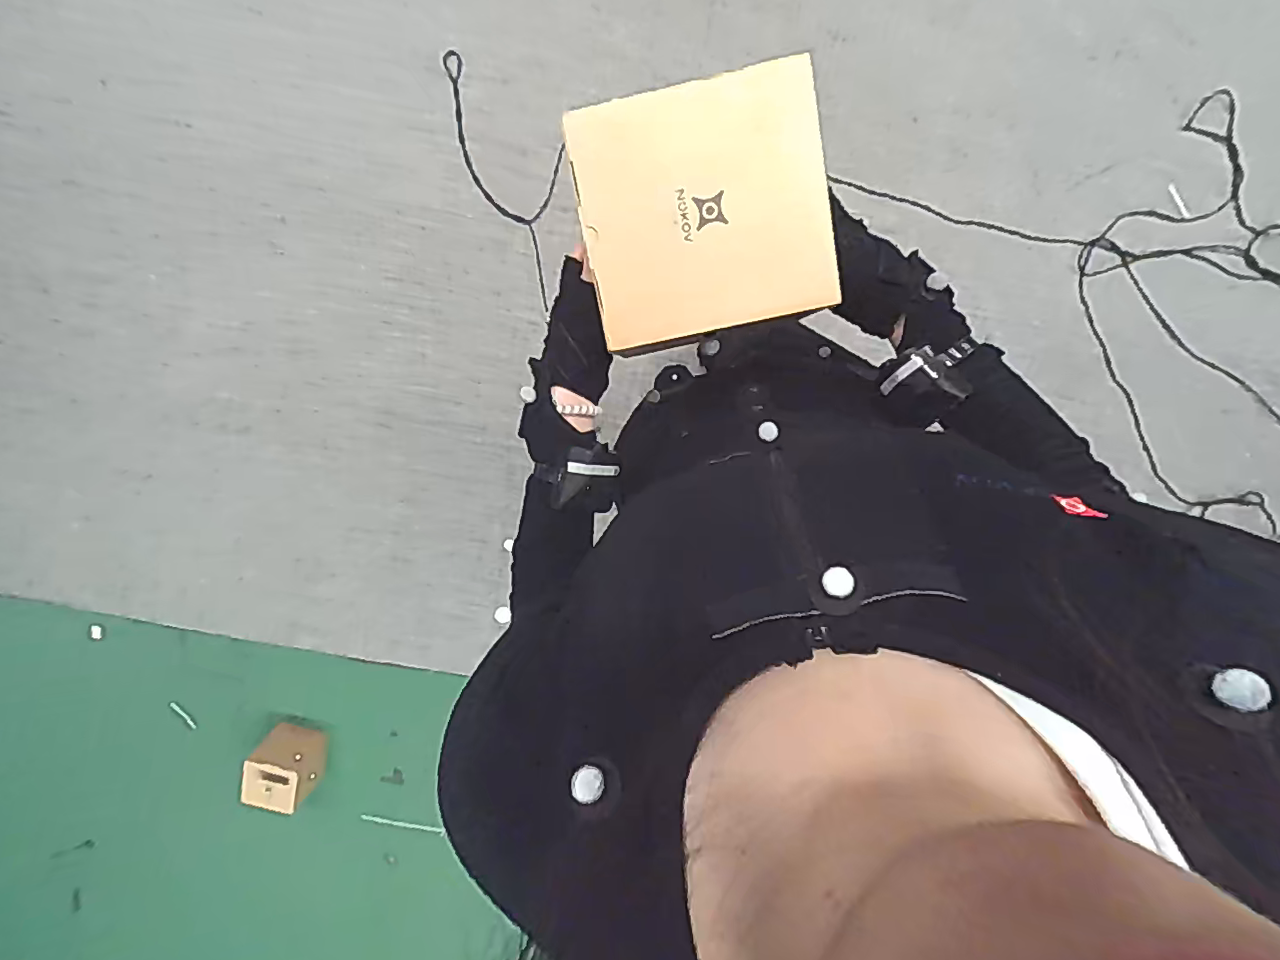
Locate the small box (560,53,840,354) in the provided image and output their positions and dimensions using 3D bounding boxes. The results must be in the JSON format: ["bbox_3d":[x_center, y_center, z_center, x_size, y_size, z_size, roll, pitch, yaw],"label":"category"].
[{"bbox_3d":[0.047,-0.206,0.455,0.179,0.176,0.168,-11,102,5],"label":"small box"}]
